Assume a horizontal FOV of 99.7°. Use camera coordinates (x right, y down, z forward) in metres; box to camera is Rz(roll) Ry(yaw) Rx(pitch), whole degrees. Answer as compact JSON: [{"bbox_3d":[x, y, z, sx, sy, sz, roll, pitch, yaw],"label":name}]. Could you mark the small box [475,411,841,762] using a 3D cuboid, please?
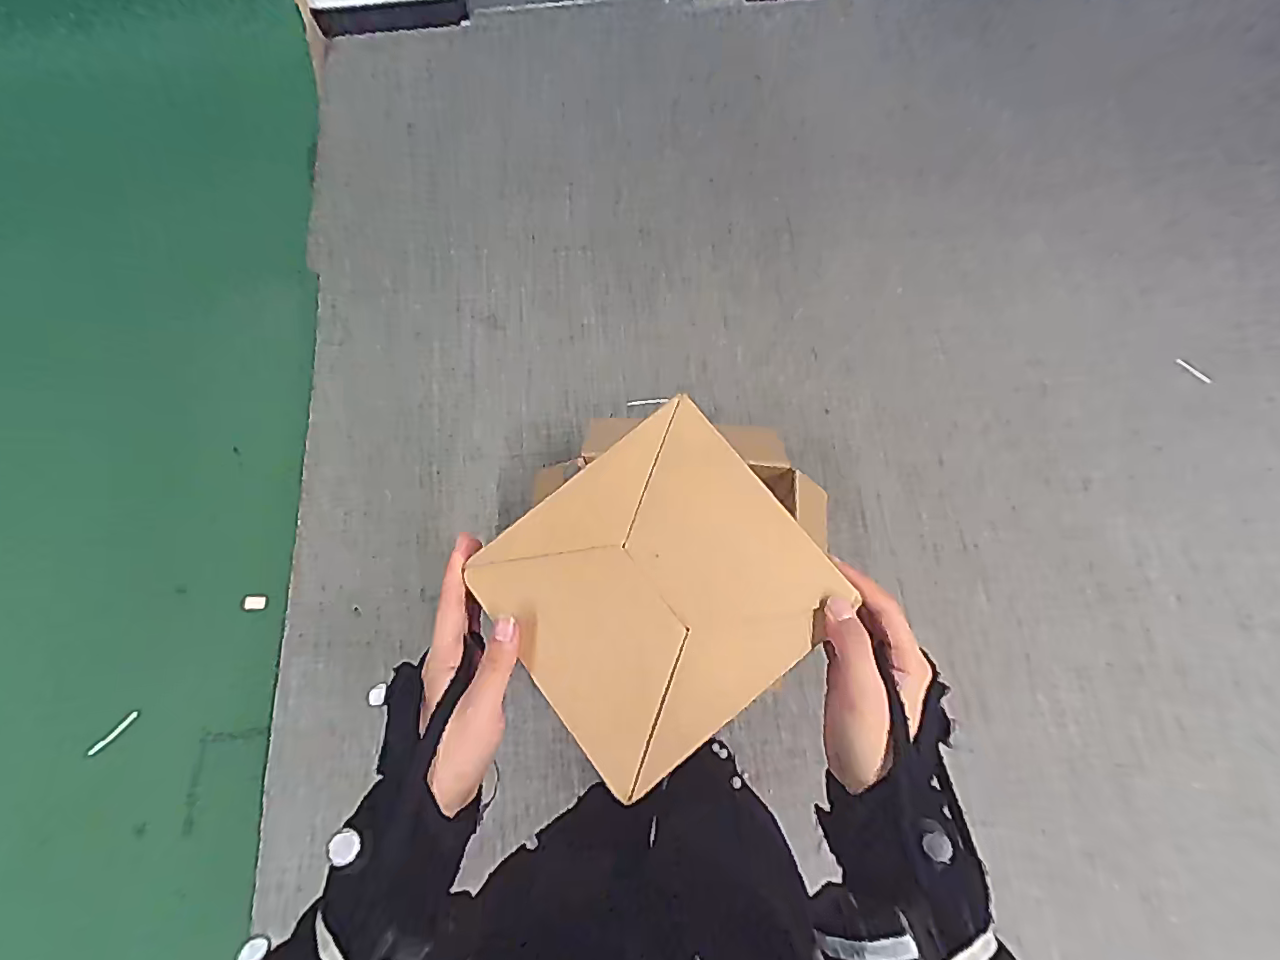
[{"bbox_3d":[0.015,0.069,0.399,0.179,0.176,0.168,-39,79,-4],"label":"small box"}]
